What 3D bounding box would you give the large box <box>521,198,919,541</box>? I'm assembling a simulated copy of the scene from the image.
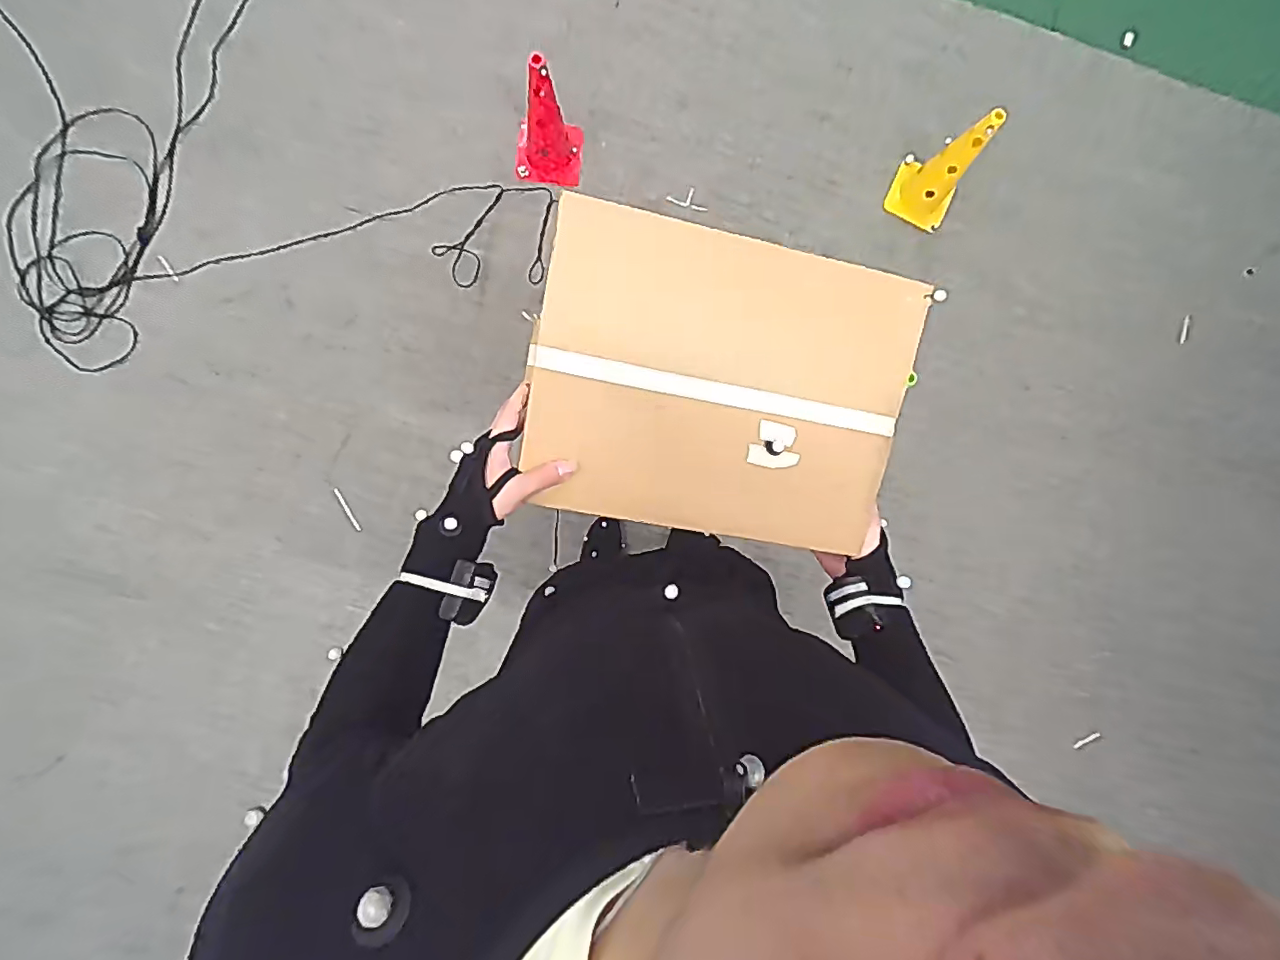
[{"bbox_3d":[0.068,-0.131,0.730,0.408,0.320,0.320,9,101,-10],"label":"large box"}]
